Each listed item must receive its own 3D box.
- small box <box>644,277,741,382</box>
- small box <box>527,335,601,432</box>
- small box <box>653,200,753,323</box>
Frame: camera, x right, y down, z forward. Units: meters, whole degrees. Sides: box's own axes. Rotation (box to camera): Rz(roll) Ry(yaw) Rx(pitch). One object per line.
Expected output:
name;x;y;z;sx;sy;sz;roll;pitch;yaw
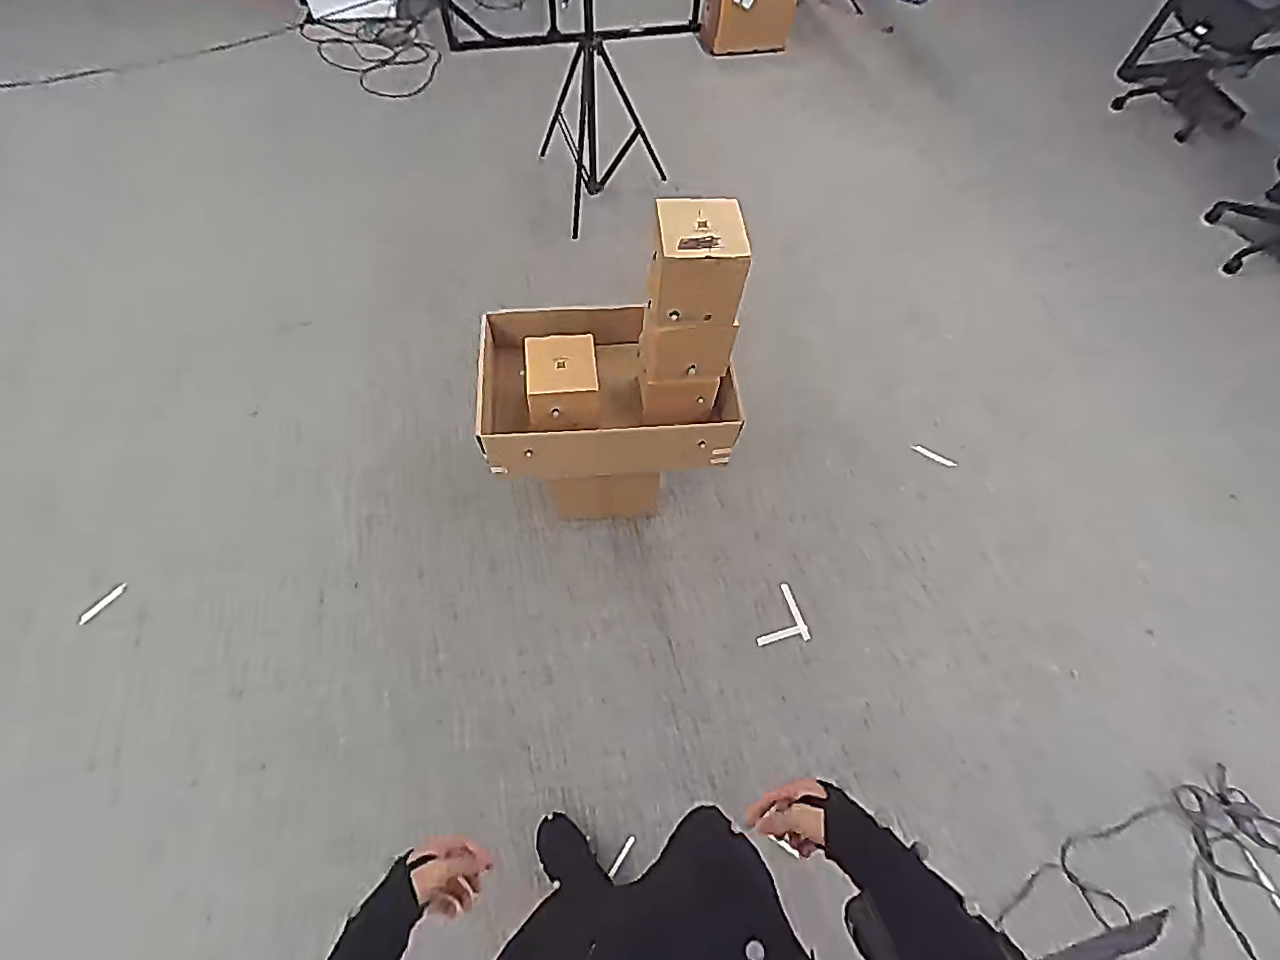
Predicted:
small box;0.111;-0.340;1.223;0.179;0.176;0.168;-5;61;-7
small box;-0.186;-0.231;1.336;0.168;0.176;0.179;-5;61;-6
small box;0.117;-0.433;1.085;0.168;0.176;0.179;-2;61;-5
